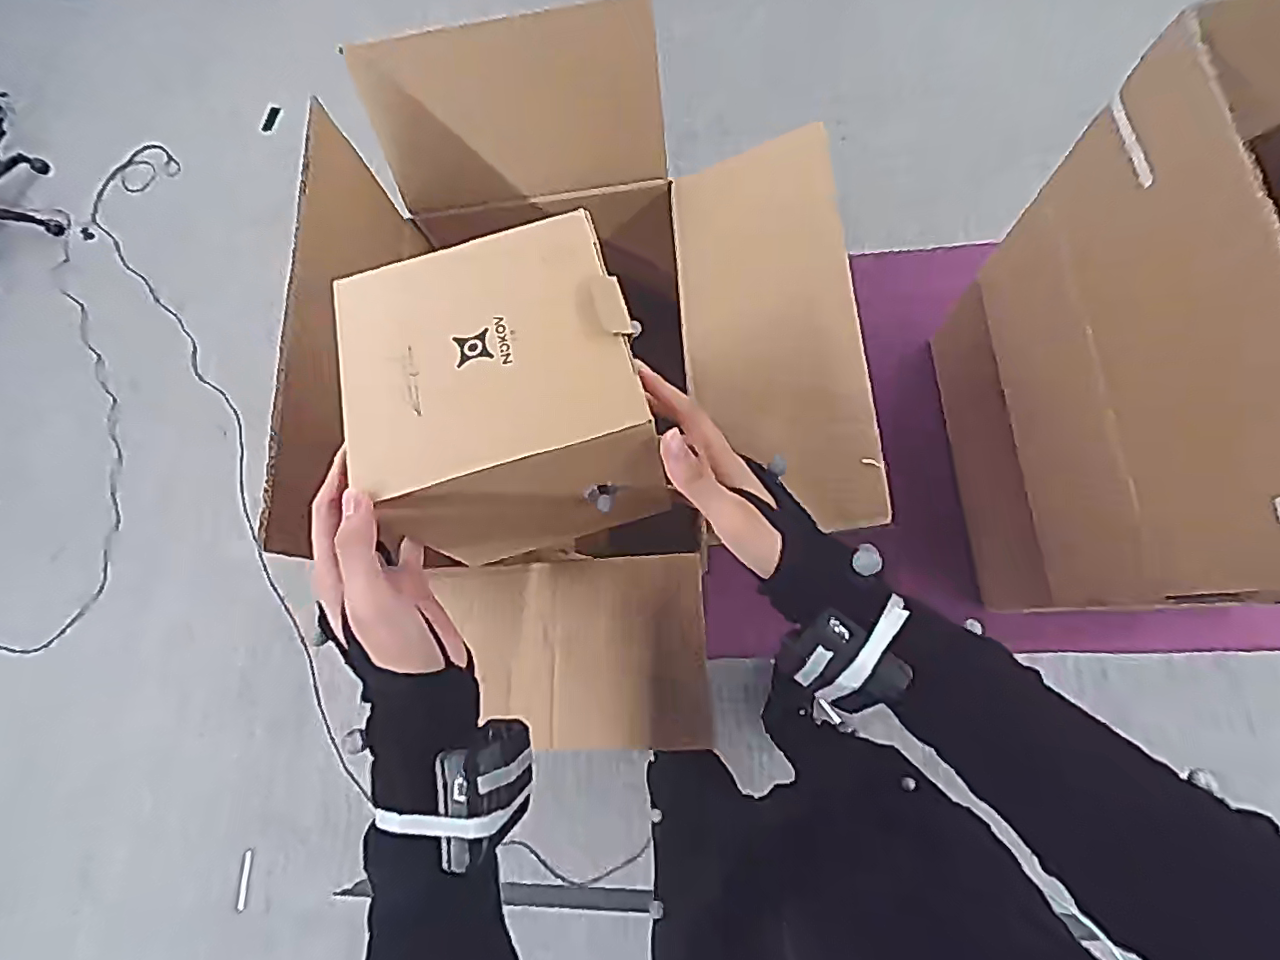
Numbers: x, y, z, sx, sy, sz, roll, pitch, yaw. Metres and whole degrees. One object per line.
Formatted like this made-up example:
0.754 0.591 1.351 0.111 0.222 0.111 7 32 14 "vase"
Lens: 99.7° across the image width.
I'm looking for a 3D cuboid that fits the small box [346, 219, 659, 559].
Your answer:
-0.088 -0.053 0.412 0.179 0.176 0.168 -17 68 1 "small box"
